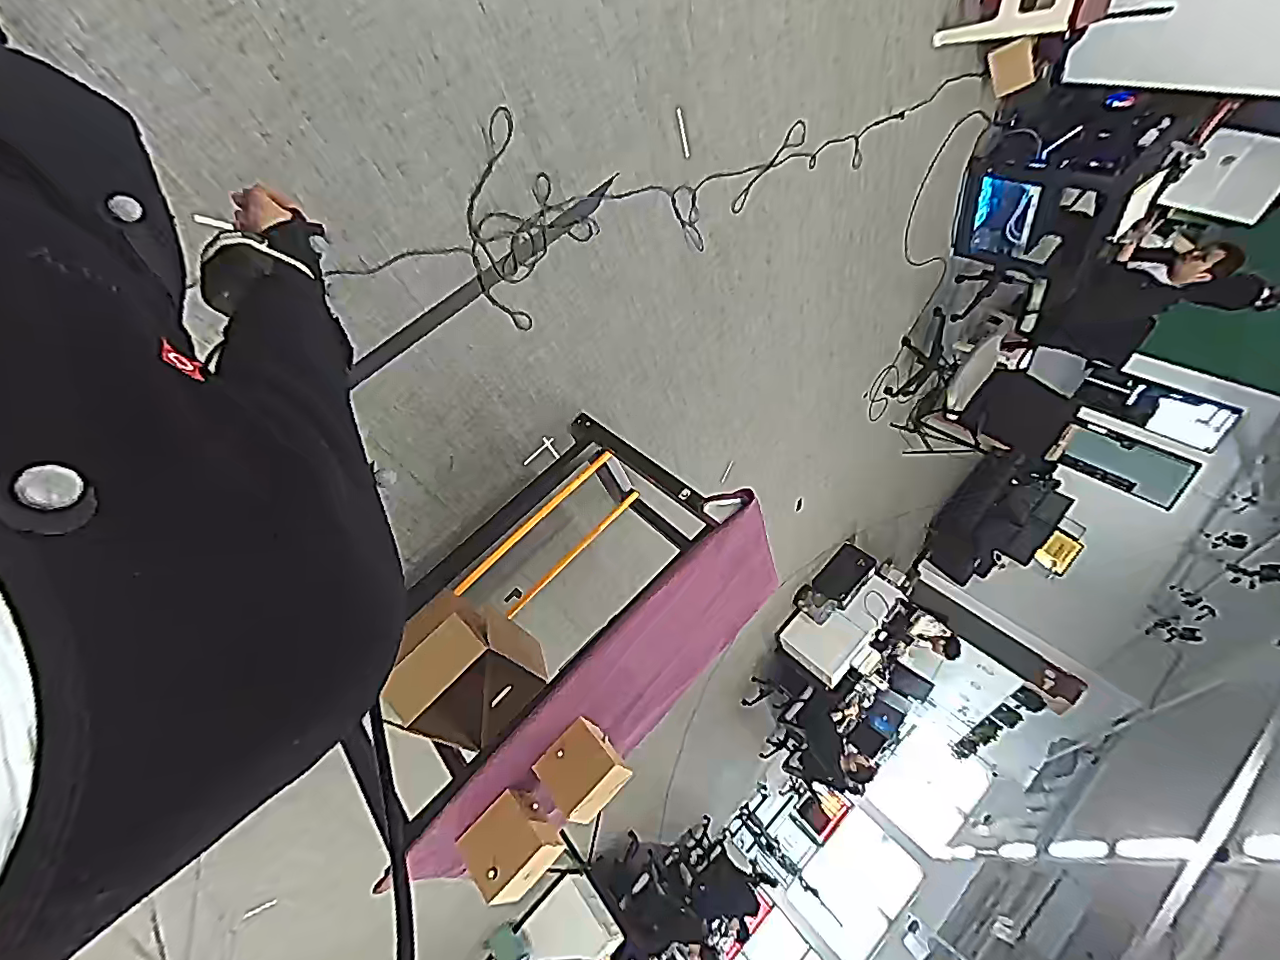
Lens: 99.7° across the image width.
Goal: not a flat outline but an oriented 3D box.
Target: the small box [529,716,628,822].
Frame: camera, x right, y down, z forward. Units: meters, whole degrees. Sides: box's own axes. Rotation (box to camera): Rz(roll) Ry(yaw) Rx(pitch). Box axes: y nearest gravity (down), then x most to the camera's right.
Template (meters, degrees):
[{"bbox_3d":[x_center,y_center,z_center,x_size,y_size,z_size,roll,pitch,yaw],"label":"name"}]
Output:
[{"bbox_3d":[-0.156,0.775,1.446,0.179,0.176,0.168,-43,145,-15],"label":"small box"}]

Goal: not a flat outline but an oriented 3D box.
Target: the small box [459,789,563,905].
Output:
[{"bbox_3d":[-0.334,0.930,1.377,0.179,0.176,0.168,-43,146,-14],"label":"small box"}]
